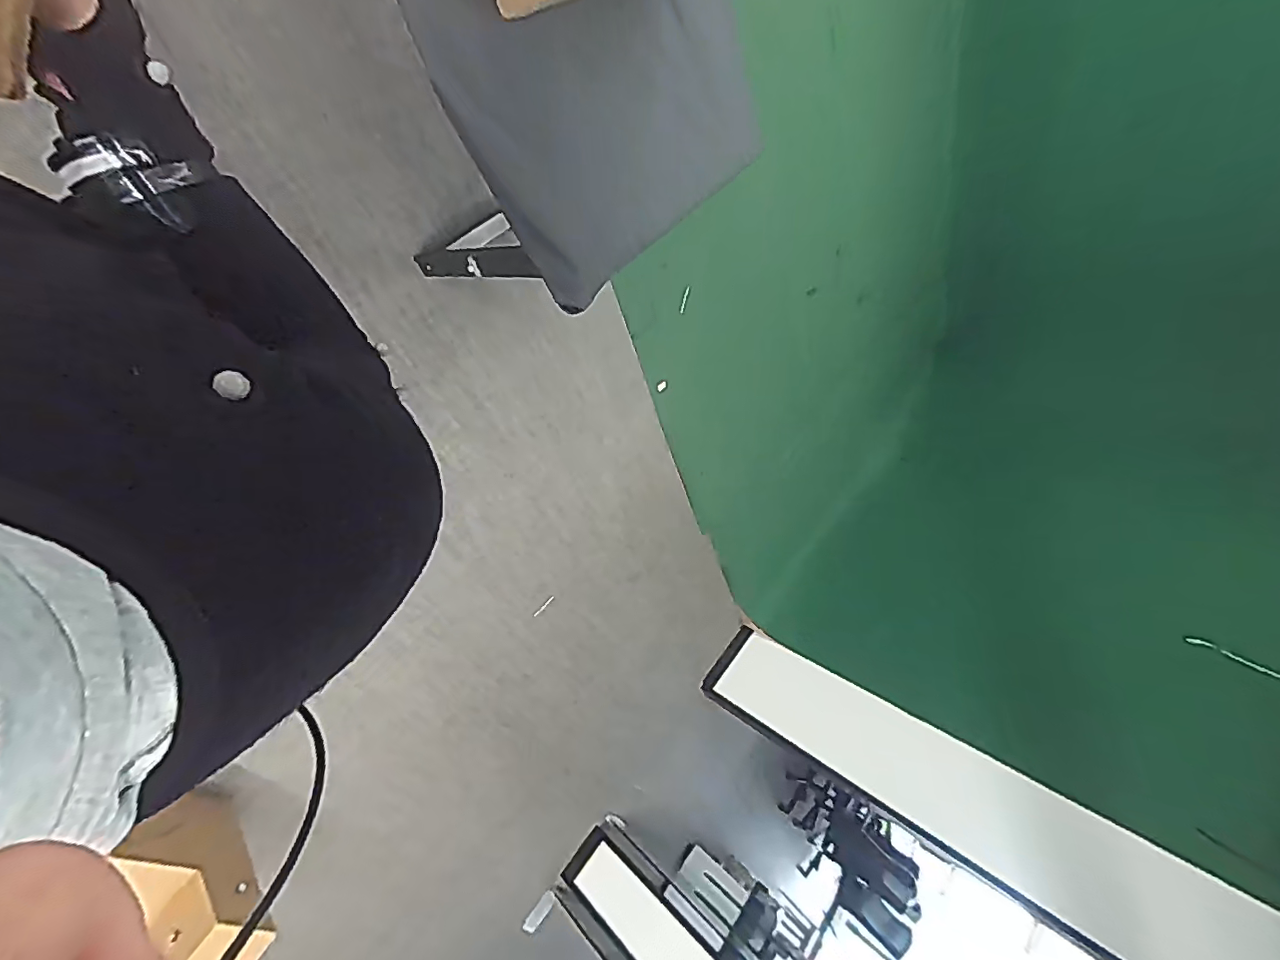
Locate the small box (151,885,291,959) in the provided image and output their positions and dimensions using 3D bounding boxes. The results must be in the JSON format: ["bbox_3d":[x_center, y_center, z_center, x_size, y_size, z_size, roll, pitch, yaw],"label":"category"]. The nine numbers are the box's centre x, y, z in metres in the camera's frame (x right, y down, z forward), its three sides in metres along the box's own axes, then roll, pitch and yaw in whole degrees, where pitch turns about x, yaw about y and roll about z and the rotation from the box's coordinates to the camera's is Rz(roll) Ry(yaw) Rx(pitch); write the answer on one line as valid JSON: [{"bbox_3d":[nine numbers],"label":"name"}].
[{"bbox_3d":[-0.919,1.039,1.177,0.179,0.176,0.168,-53,137,-26],"label":"small box"}]
